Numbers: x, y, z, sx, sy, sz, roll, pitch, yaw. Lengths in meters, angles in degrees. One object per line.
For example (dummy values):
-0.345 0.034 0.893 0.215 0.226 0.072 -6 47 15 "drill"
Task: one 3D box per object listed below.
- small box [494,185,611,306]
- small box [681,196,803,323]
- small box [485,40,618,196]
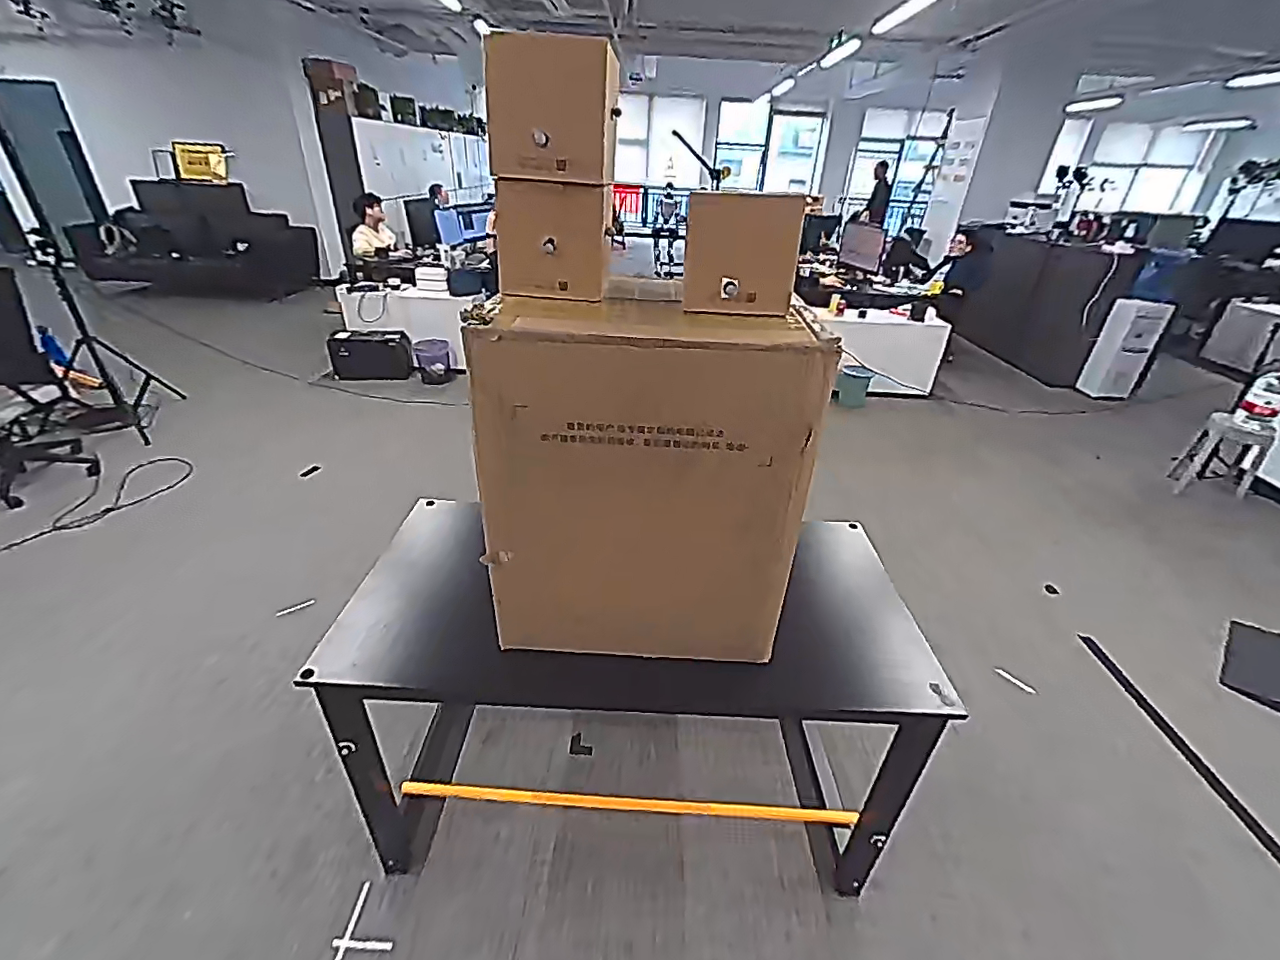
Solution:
-0.138 -0.398 0.912 0.168 0.176 0.179 4 30 -1 "small box"
0.153 -0.361 0.877 0.168 0.176 0.179 2 30 3 "small box"
-0.125 -0.534 0.816 0.168 0.176 0.179 4 30 0 "small box"
